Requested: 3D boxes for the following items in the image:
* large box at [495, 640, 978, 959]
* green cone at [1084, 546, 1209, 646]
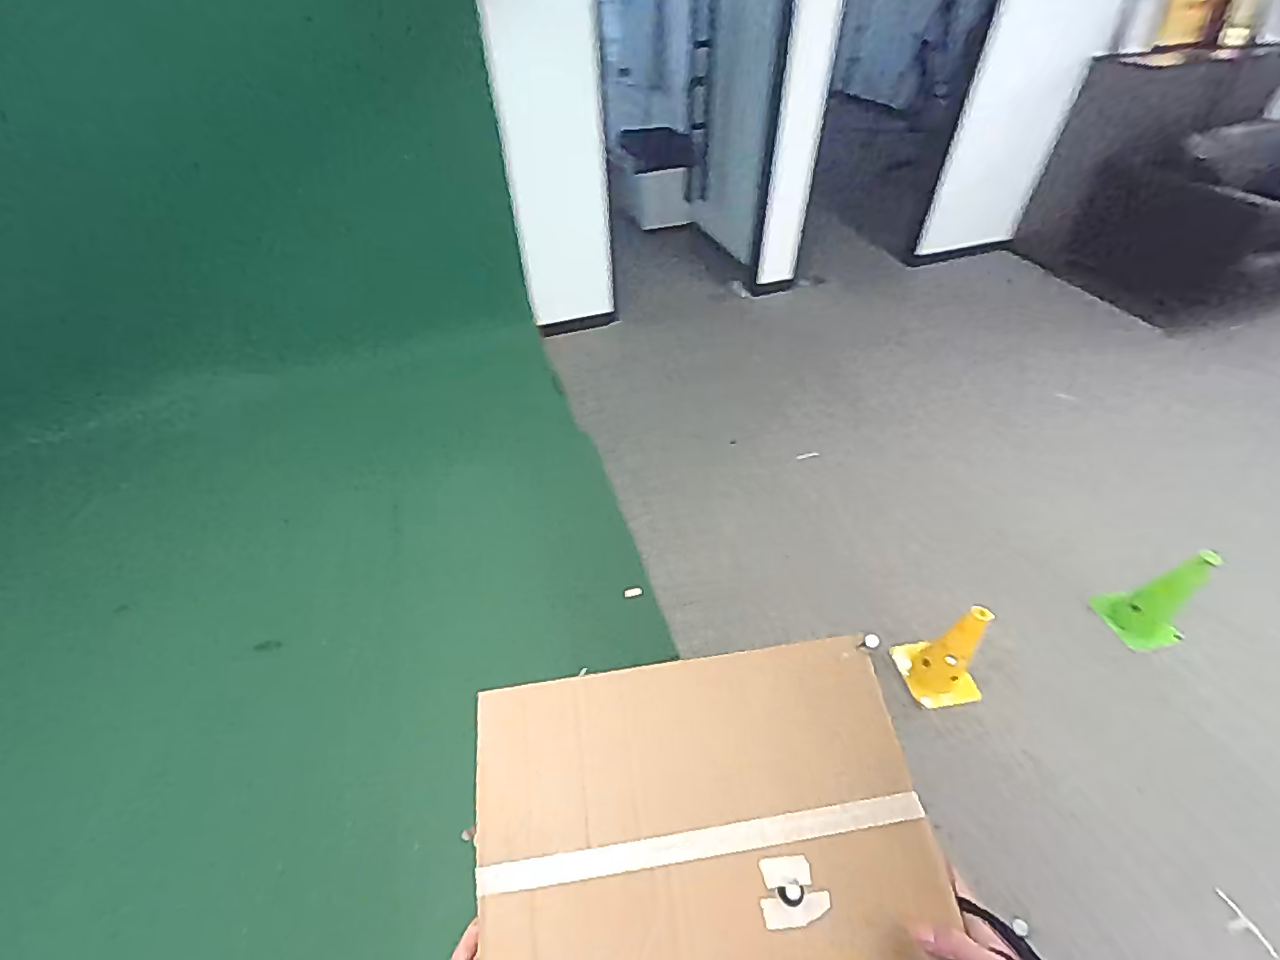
[{"bbox_3d":[0.070,0.403,0.623,0.408,0.320,0.320,-7,61,-3],"label":"large box"},{"bbox_3d":[1.629,0.328,1.688,0.202,0.368,0.200,-11,46,-7],"label":"green cone"}]
